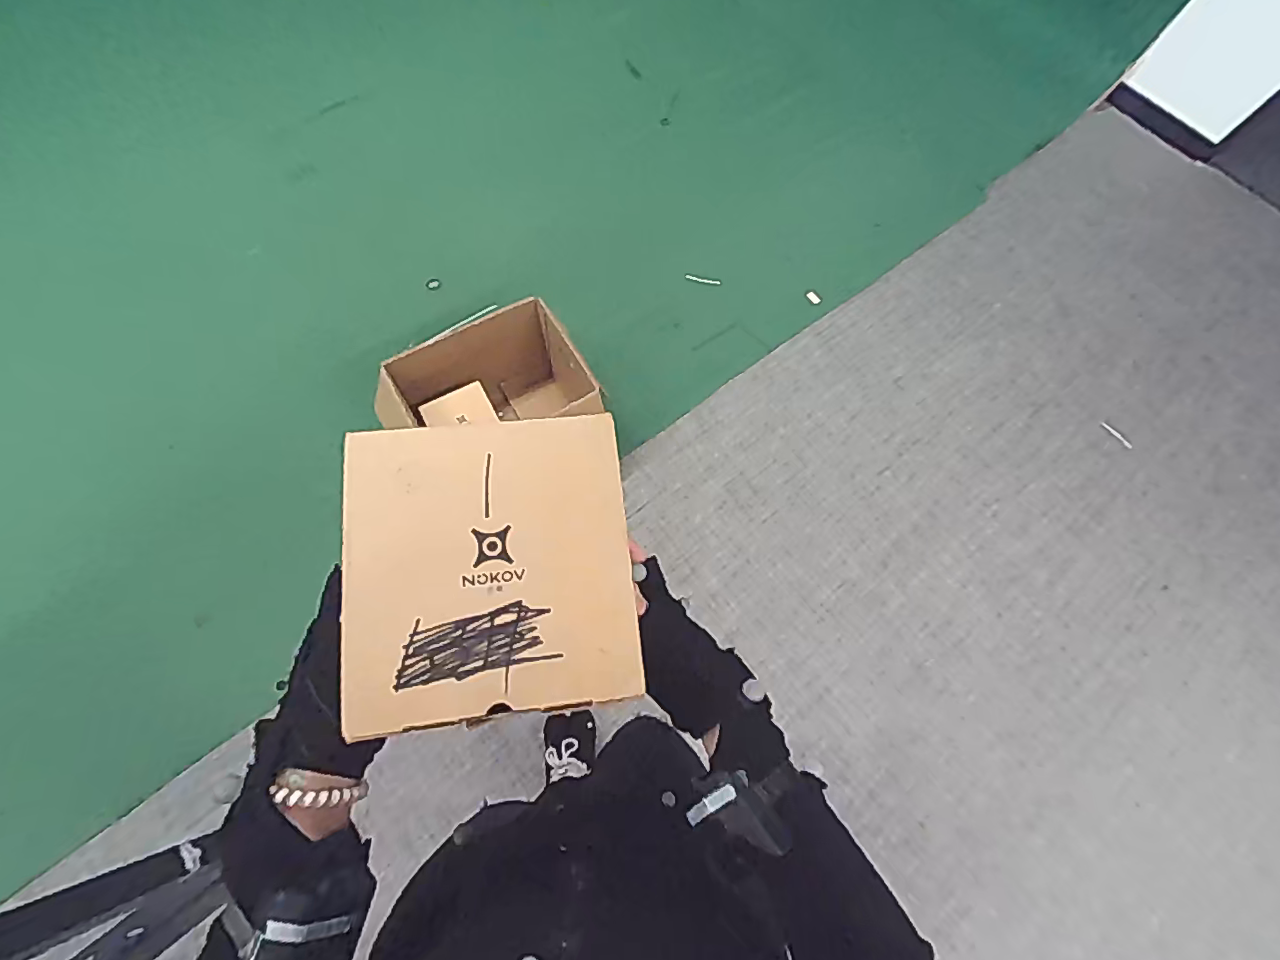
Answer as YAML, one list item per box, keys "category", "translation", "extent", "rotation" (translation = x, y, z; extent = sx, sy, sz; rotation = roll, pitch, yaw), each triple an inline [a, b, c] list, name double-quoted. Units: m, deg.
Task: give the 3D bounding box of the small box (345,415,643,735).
- category: "small box"
  translation: [-0.094, 0.067, 0.395]
  extent: [0.168, 0.176, 0.179]
  rotation: [-5, 76, -8]
